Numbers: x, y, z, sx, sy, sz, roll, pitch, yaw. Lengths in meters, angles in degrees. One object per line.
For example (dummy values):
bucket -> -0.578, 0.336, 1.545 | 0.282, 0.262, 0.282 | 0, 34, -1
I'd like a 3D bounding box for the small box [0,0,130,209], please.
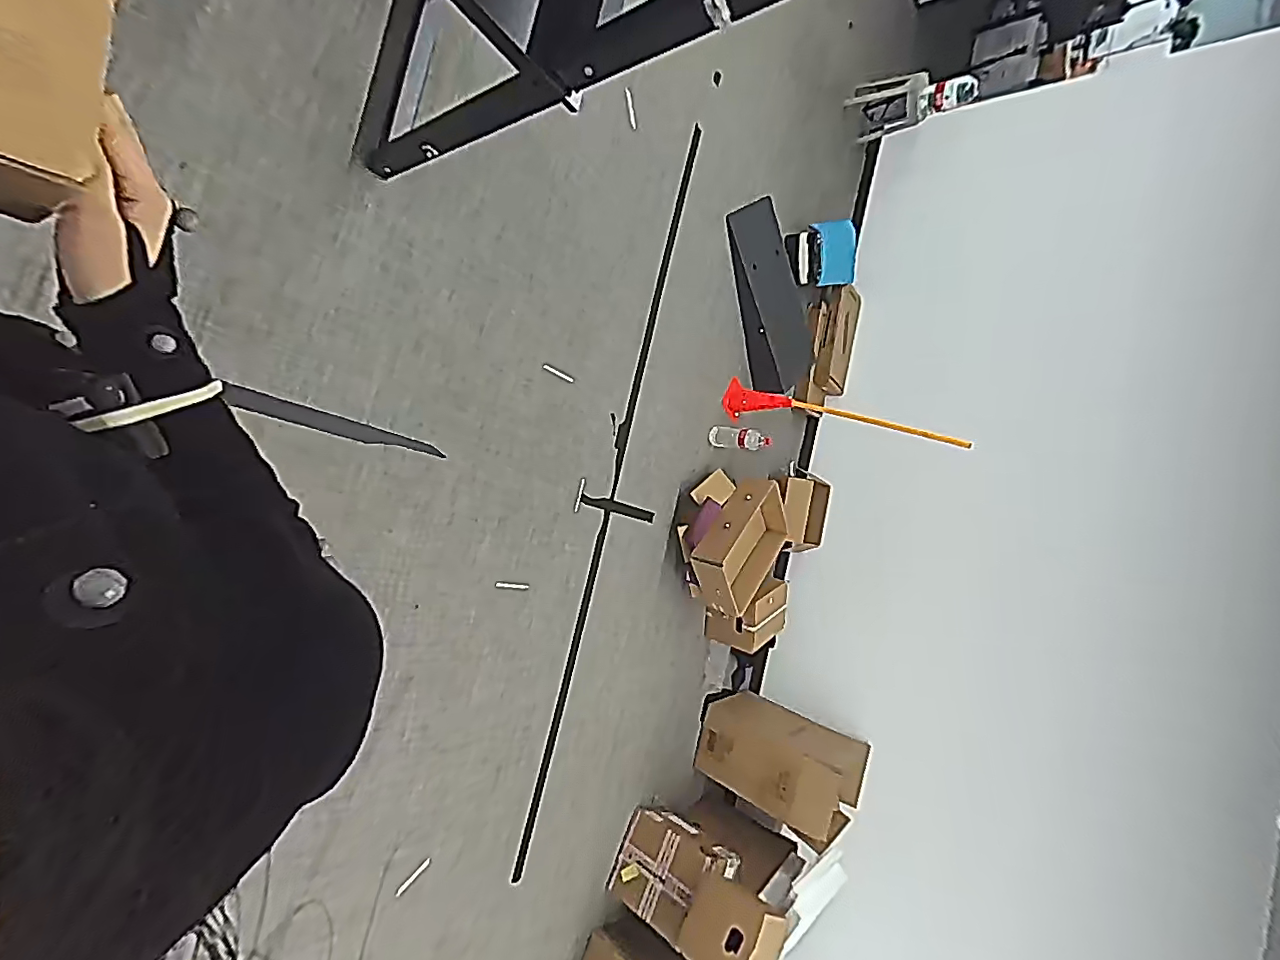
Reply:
small box -> -0.336, -0.233, 0.220 | 0.168, 0.176, 0.179 | 6, 97, -55
